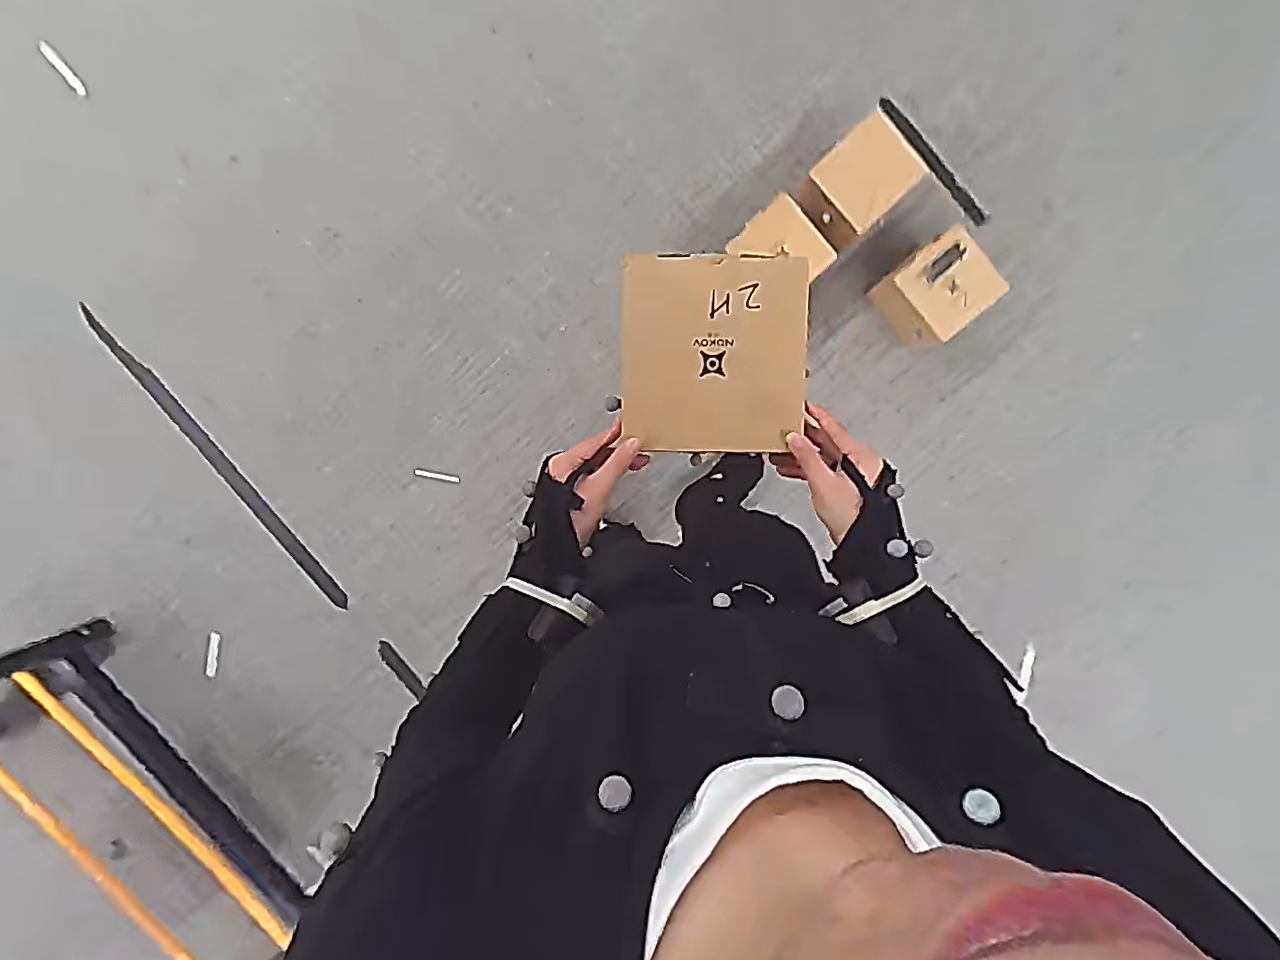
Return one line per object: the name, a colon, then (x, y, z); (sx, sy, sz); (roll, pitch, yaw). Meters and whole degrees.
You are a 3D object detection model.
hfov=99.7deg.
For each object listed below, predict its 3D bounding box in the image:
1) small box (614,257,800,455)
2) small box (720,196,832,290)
small box: (0.059, -0.116, 0.565); (0.168, 0.176, 0.179); (0, 93, -1)
small box: (0.294, -0.486, 1.212); (0.168, 0.176, 0.179); (-40, 93, 8)
